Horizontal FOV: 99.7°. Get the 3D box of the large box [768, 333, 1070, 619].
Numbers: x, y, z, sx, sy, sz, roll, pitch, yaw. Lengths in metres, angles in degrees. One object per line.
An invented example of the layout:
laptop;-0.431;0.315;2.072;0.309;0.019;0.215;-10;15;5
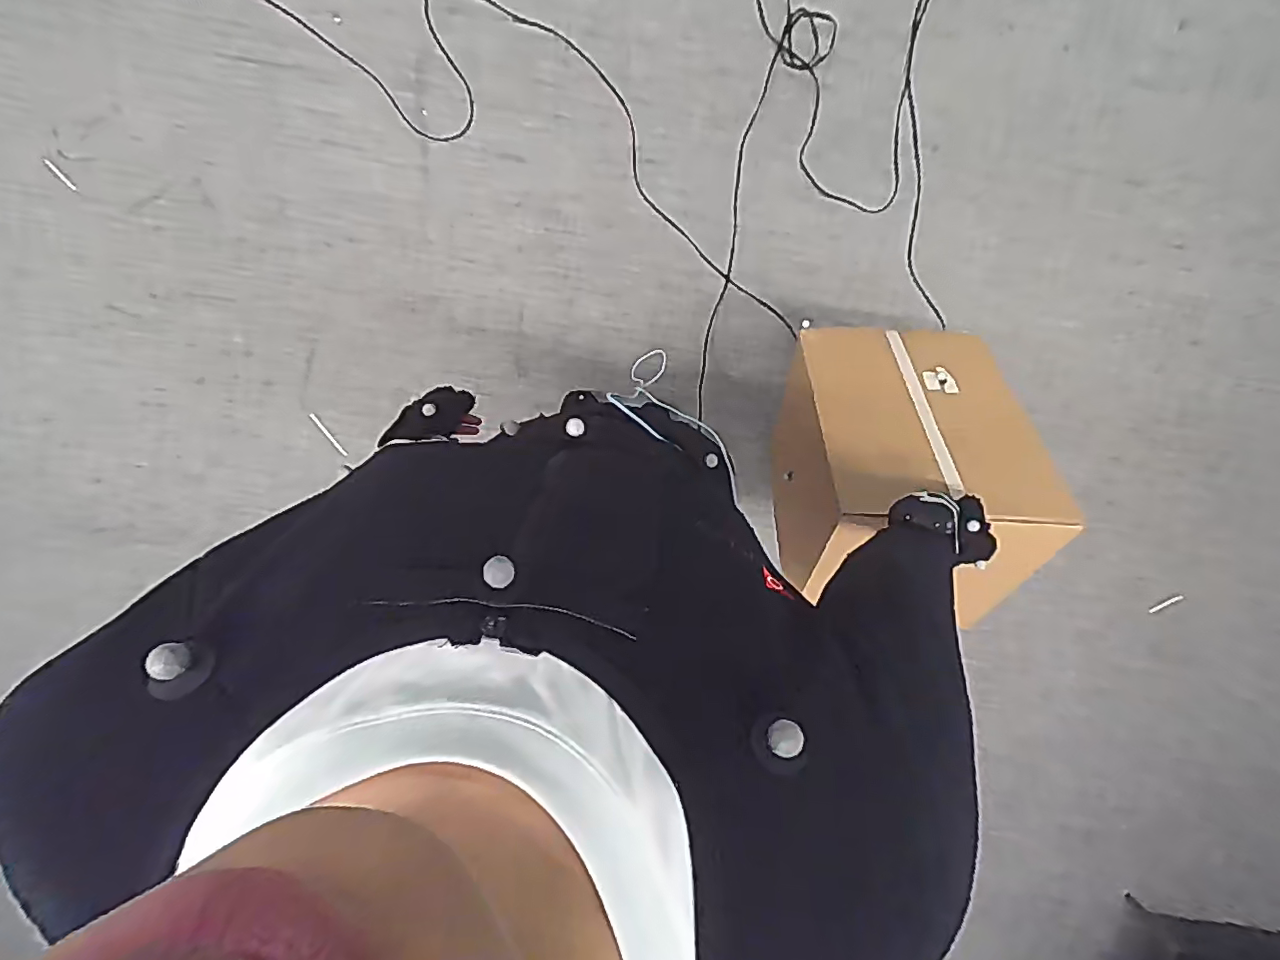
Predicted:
large box;0.422;-0.006;0.949;0.320;0.408;0.320;3;140;1
